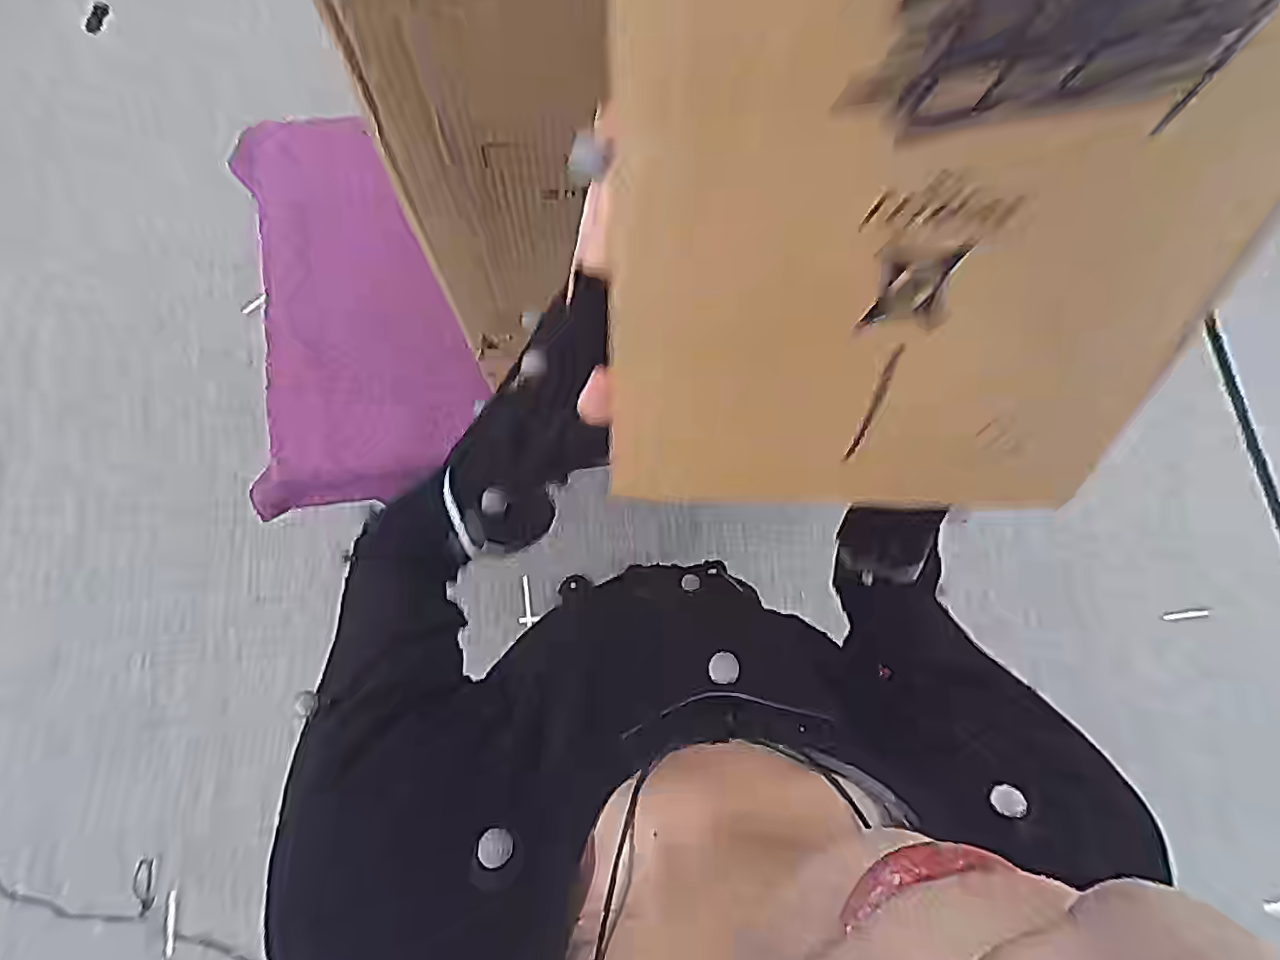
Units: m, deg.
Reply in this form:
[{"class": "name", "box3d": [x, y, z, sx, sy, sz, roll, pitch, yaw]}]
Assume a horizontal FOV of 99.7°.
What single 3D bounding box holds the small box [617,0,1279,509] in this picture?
[{"class": "small box", "box3d": [0.076, -0.109, 0.205, 0.168, 0.179, 0.176, 2, 37, -1]}]
